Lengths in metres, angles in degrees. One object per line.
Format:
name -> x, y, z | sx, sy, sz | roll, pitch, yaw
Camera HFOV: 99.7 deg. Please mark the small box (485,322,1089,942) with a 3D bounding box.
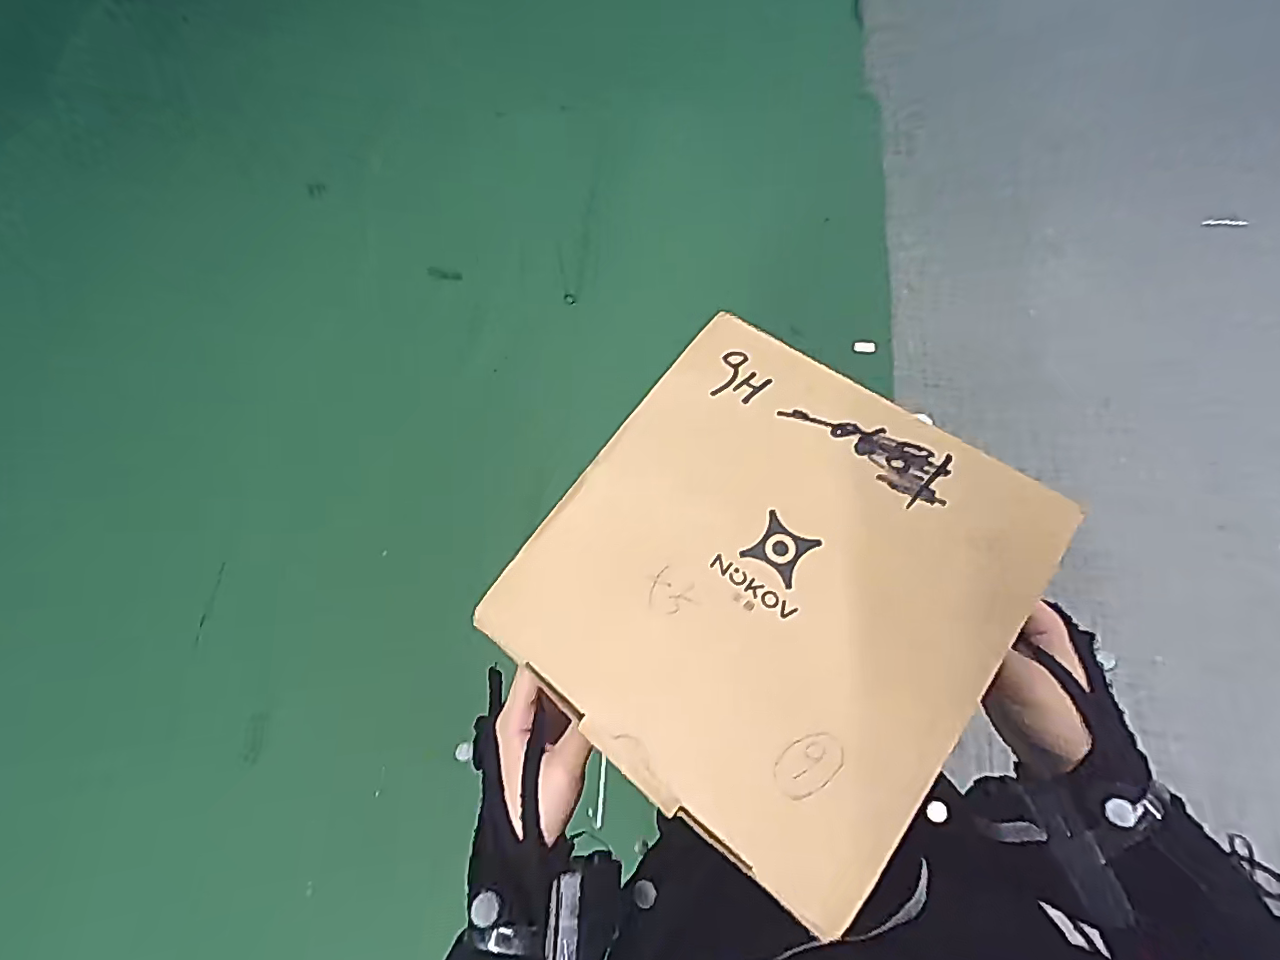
small box -> 0.062, 0.063, 0.282 | 0.168, 0.176, 0.179 | 36, 79, 19
